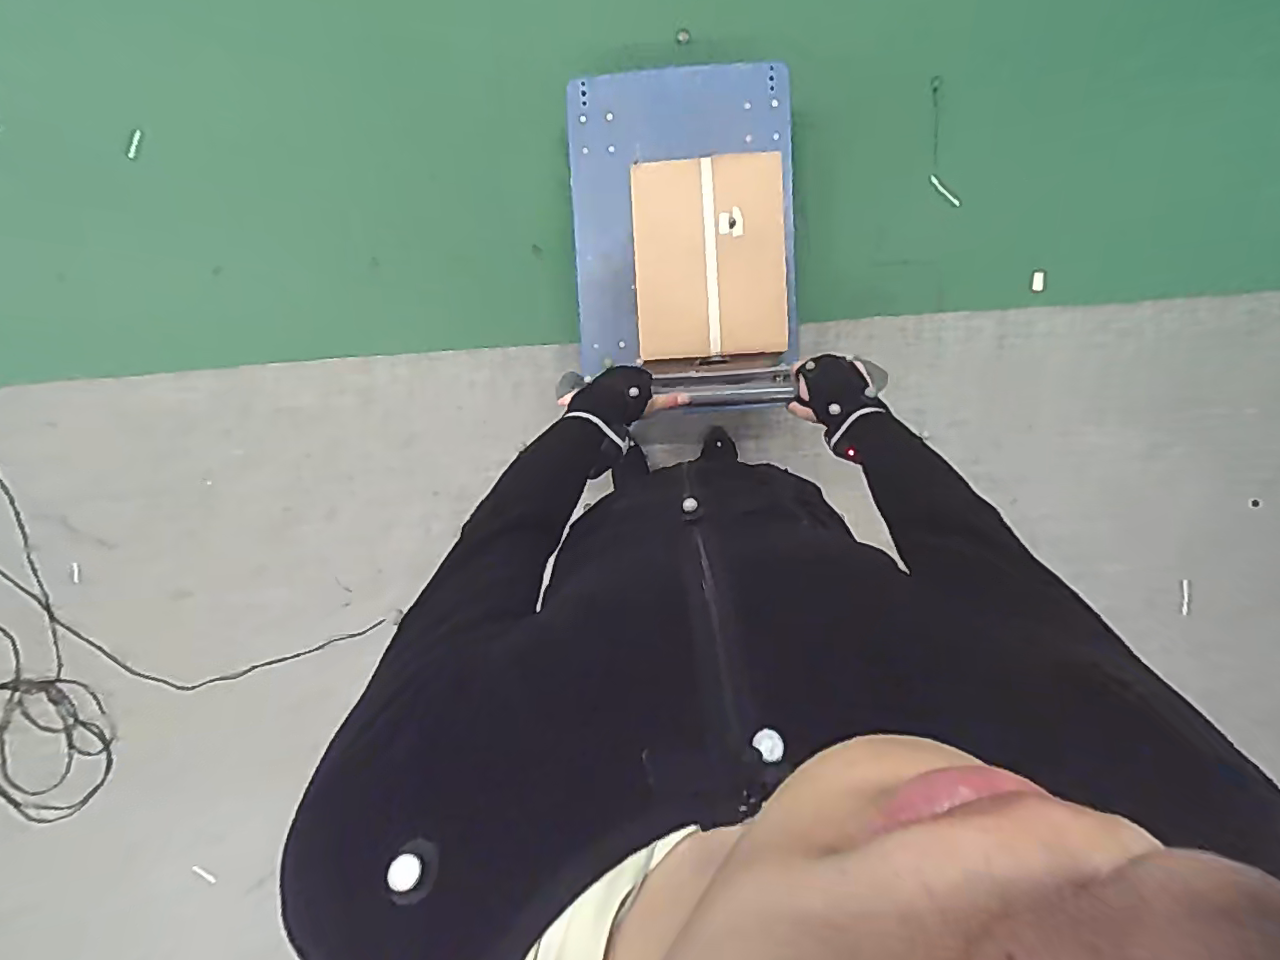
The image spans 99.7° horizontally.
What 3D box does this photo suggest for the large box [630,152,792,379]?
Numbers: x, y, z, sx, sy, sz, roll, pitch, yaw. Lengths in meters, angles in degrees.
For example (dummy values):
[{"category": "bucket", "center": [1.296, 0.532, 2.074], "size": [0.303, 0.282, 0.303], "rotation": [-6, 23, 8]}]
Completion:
[{"category": "large box", "center": [0.153, -0.463, 1.255], "size": [0.320, 0.320, 0.408], "rotation": [-3, 93, 2]}]
